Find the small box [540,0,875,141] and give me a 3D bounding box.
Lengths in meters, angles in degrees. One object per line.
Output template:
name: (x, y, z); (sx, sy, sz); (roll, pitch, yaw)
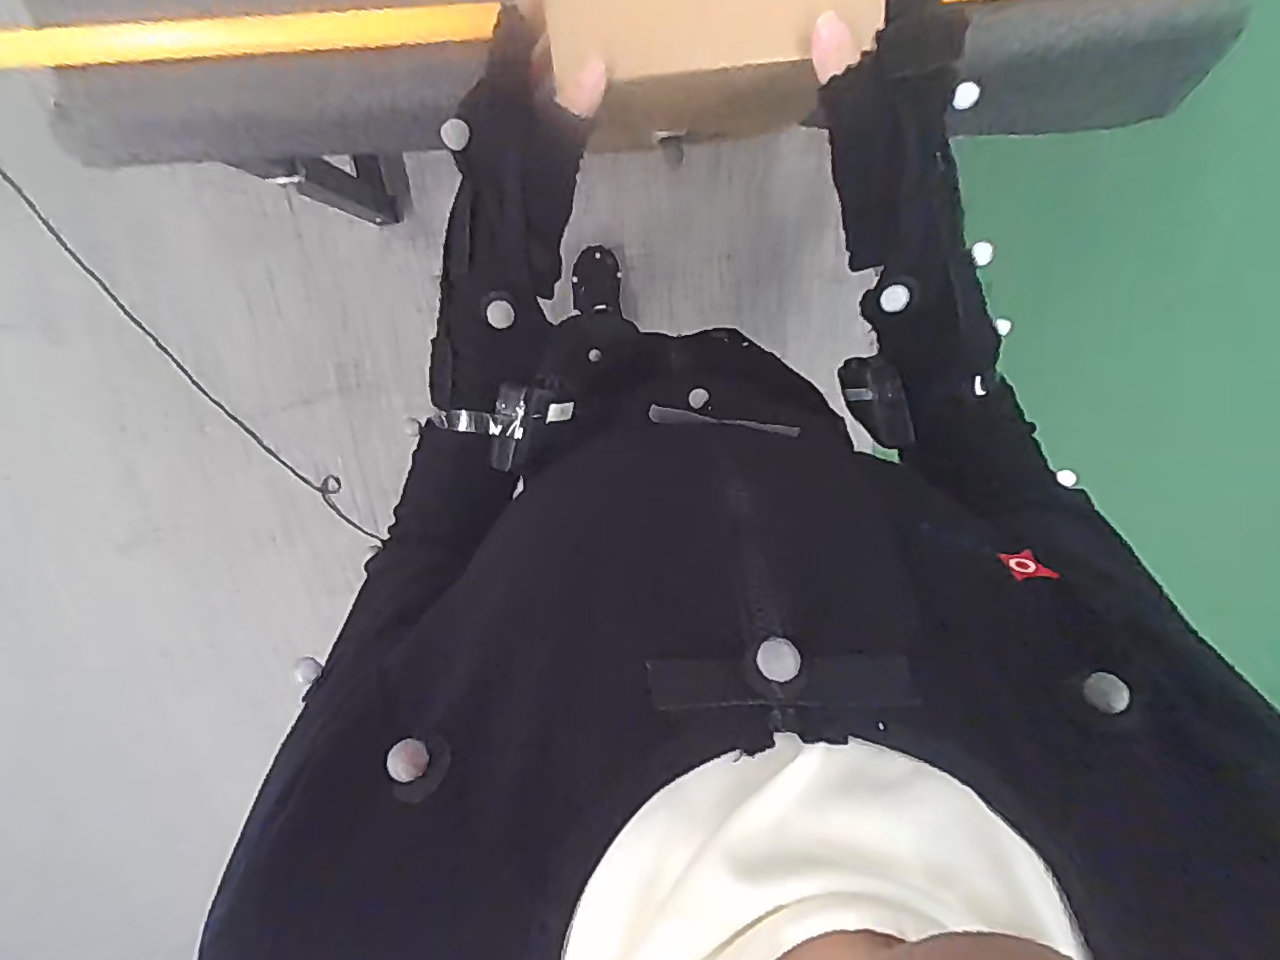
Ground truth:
small box: (0.023, -0.323, 0.313); (0.168, 0.176, 0.179); (-6, 110, 0)
